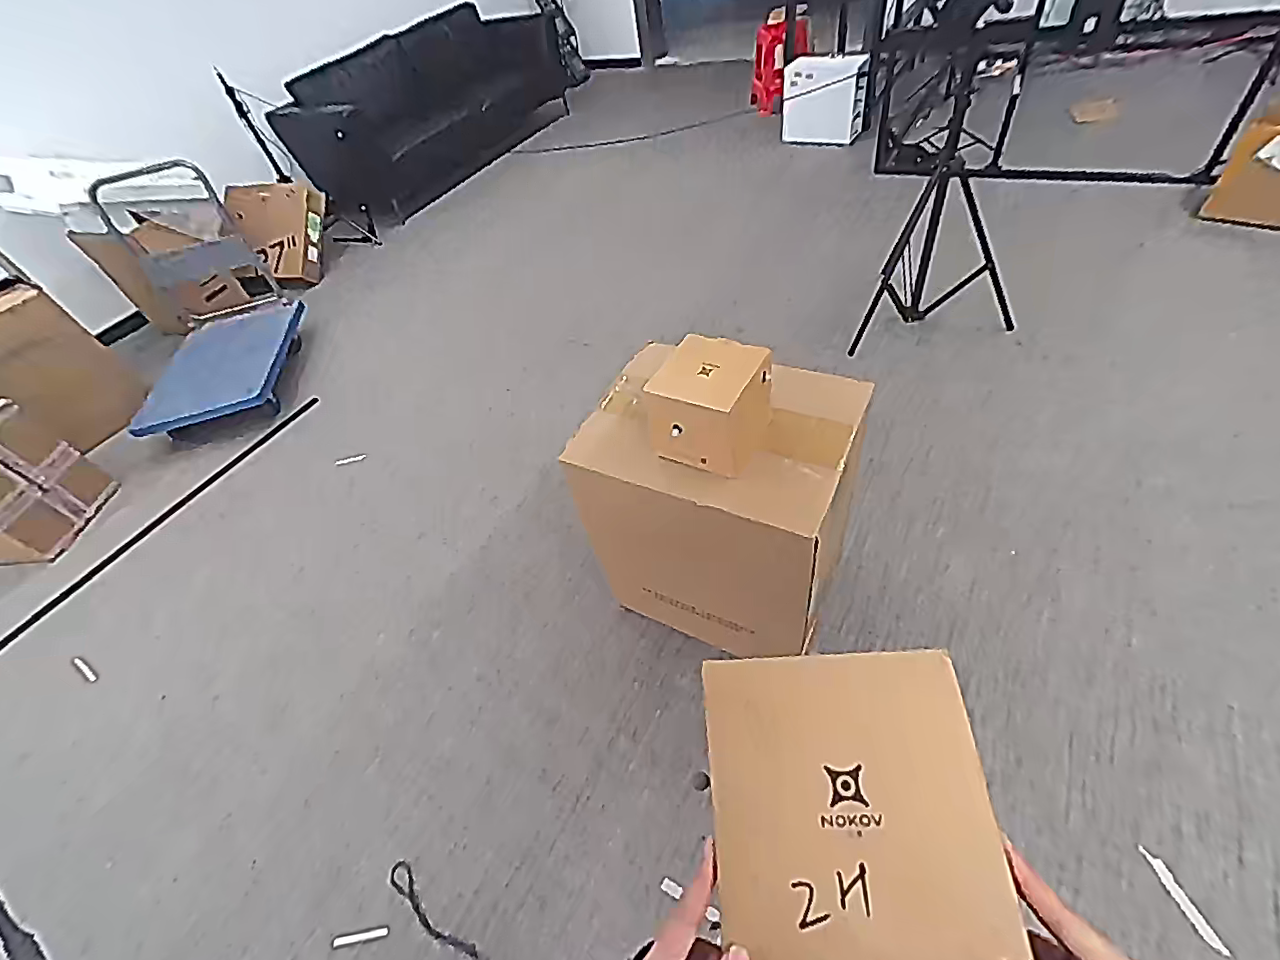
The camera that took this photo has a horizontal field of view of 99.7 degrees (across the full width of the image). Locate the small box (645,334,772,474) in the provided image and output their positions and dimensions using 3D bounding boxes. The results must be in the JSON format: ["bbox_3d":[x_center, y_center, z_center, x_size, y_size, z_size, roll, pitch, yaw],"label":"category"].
[{"bbox_3d":[0.133,-0.137,0.986,0.168,0.176,0.179,19,55,27],"label":"small box"}]

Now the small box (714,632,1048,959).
[{"bbox_3d":[0.144,0.221,0.399,0.168,0.176,0.179,-6,62,9],"label":"small box"}]
